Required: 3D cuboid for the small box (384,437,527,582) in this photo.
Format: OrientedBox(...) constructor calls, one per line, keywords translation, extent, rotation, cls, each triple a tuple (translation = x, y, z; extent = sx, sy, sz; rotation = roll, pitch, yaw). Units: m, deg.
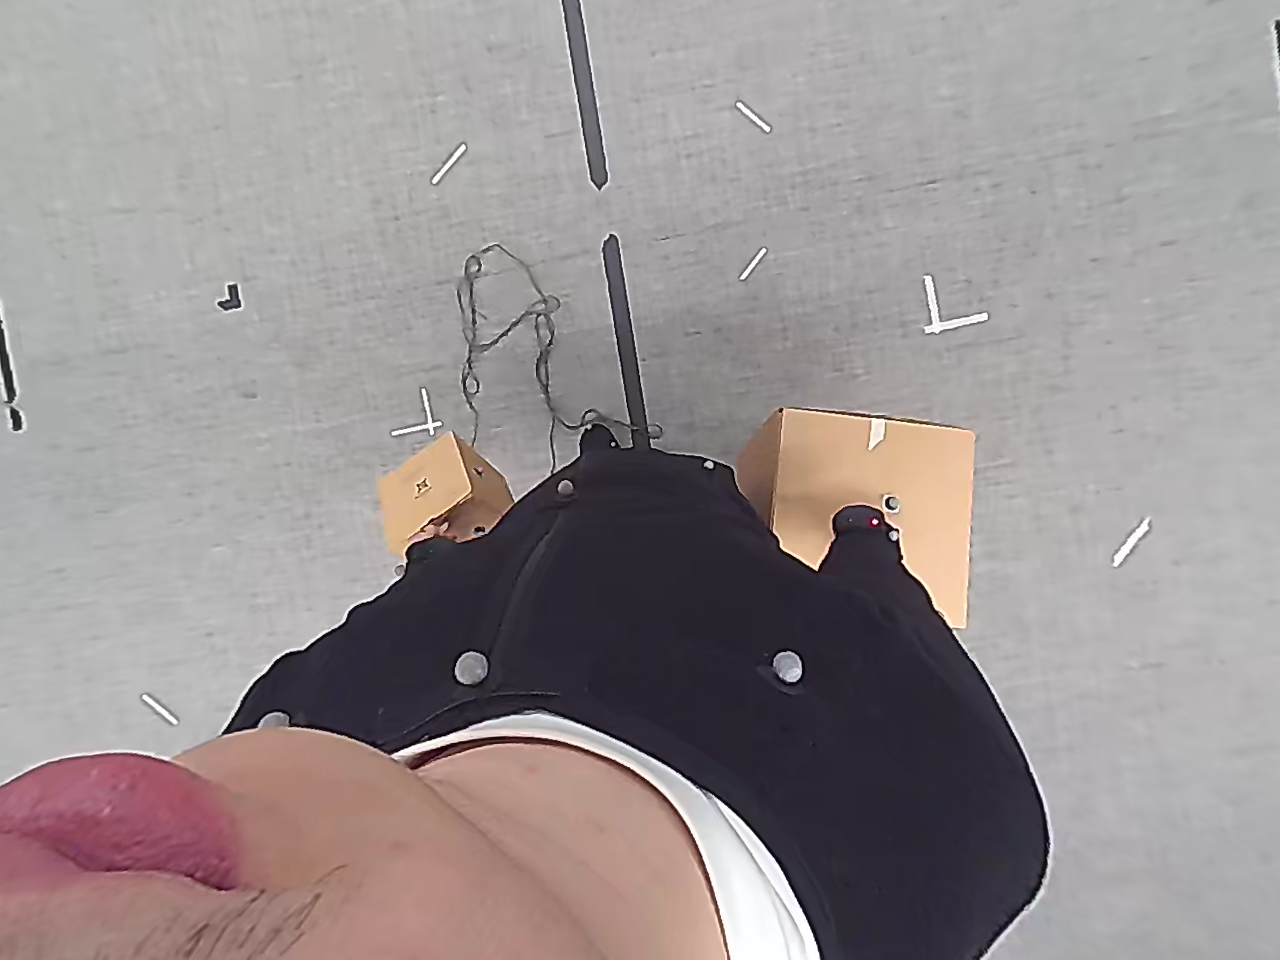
OrientedBox(translation=(-0.330, 0.062, 0.978), extent=(0.168, 0.176, 0.179), rotation=(-35, 47, 1), cls="small box")
